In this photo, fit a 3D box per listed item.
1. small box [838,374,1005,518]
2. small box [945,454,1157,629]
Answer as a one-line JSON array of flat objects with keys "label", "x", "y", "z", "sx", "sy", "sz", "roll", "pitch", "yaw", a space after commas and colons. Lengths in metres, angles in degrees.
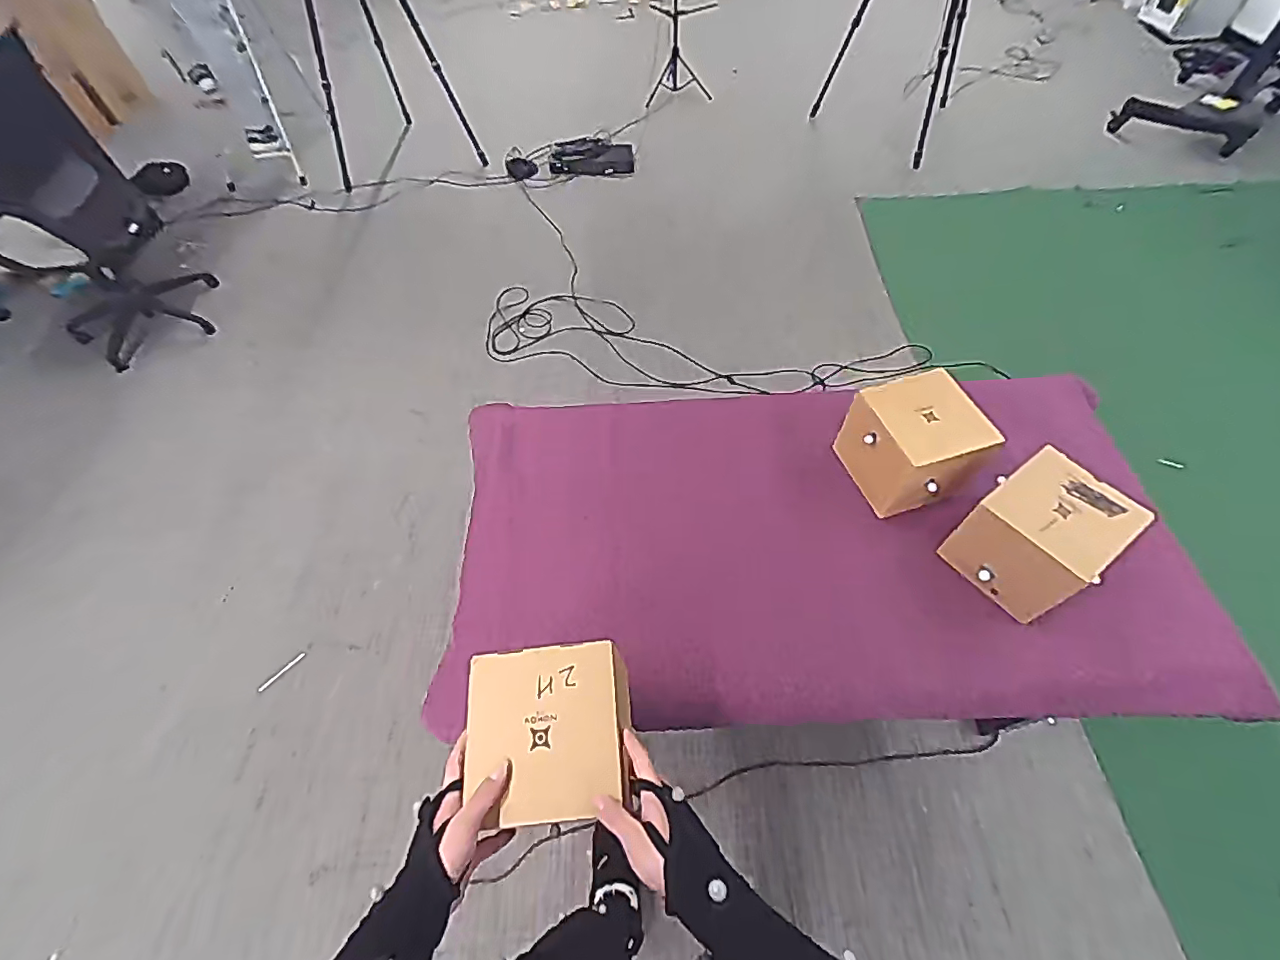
[{"label": "small box", "x": 0.479, "y": -0.051, "z": 0.952, "sx": 0.168, "sy": 0.176, "sz": 0.179, "roll": -15, "pitch": 56, "yaw": -7}, {"label": "small box", "x": 0.619, "y": 0.099, "z": 0.841, "sx": 0.179, "sy": 0.176, "sz": 0.168, "roll": -32, "pitch": 60, "yaw": -17}]
